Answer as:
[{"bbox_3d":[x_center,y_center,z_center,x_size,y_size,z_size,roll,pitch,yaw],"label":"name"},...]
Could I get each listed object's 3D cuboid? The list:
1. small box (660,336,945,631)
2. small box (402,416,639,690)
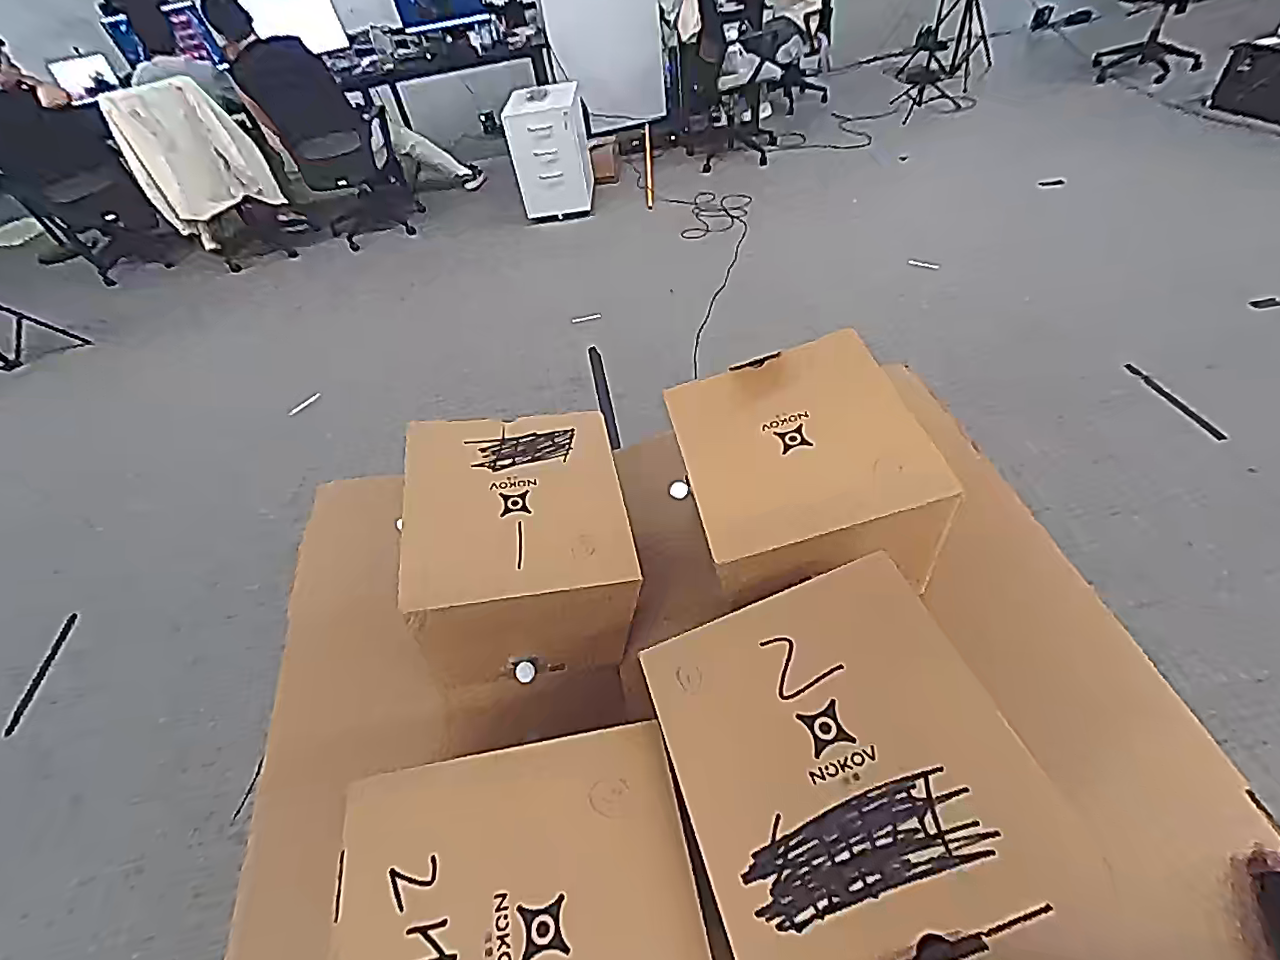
[{"bbox_3d":[0.130,0.015,0.471,0.168,0.176,0.179,-18,51,5],"label":"small box"},{"bbox_3d":[-0.105,0.065,0.489,0.168,0.176,0.179,-6,52,-12],"label":"small box"}]
